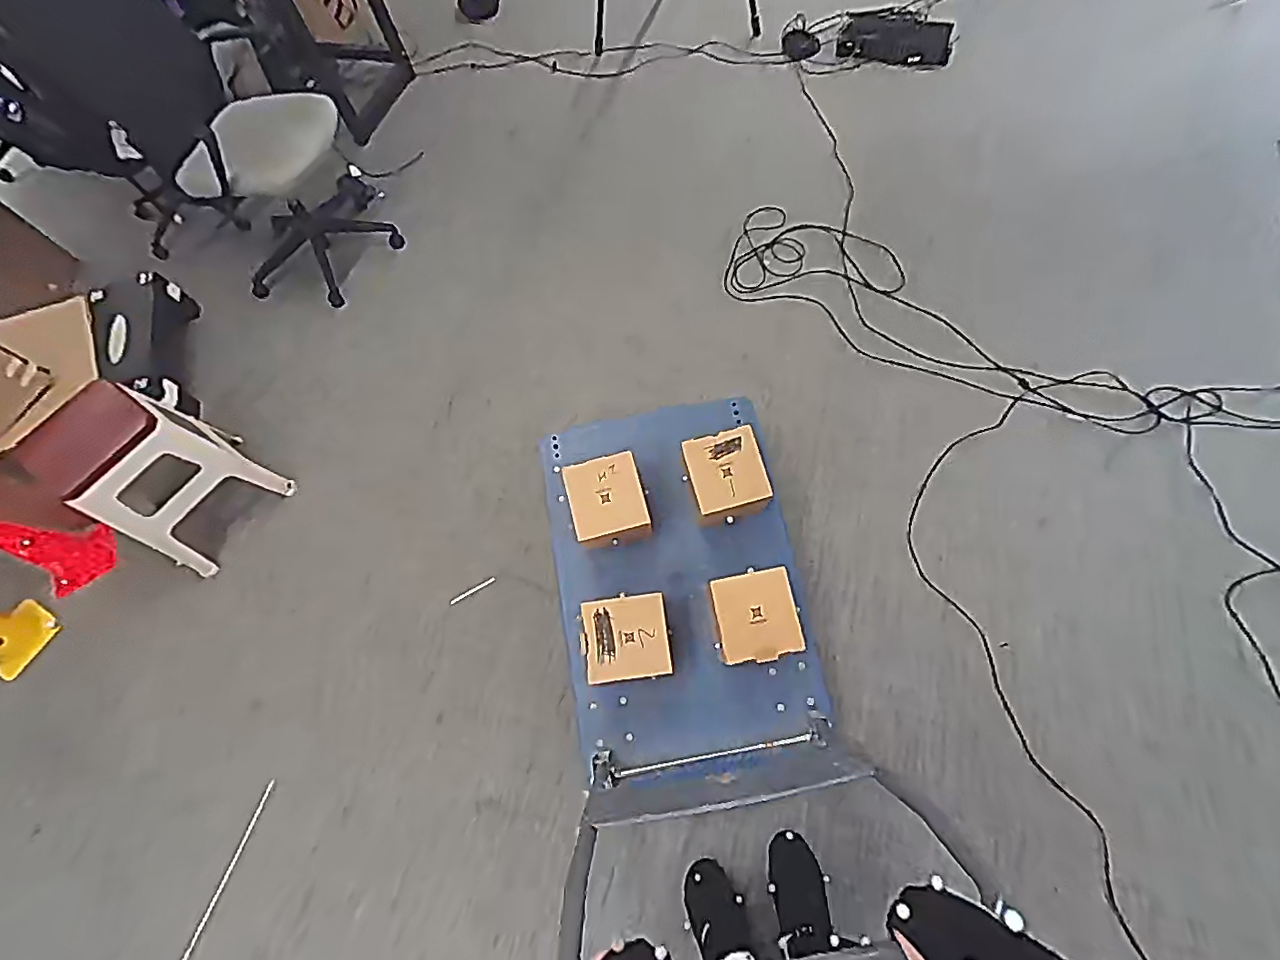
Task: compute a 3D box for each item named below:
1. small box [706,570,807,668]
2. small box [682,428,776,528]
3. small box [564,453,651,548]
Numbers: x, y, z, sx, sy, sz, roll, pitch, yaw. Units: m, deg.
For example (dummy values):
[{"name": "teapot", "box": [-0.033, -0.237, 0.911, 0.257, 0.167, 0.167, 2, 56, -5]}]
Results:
[{"name": "small box", "box": [0.248, 0.306, 1.196, 0.168, 0.176, 0.179, -11, 77, -1]}, {"name": "small box", "box": [0.199, 0.000, 1.272, 0.168, 0.176, 0.179, -14, 77, -2]}, {"name": "small box", "box": [-0.071, 0.057, 1.263, 0.168, 0.176, 0.179, -14, 76, -3]}]
